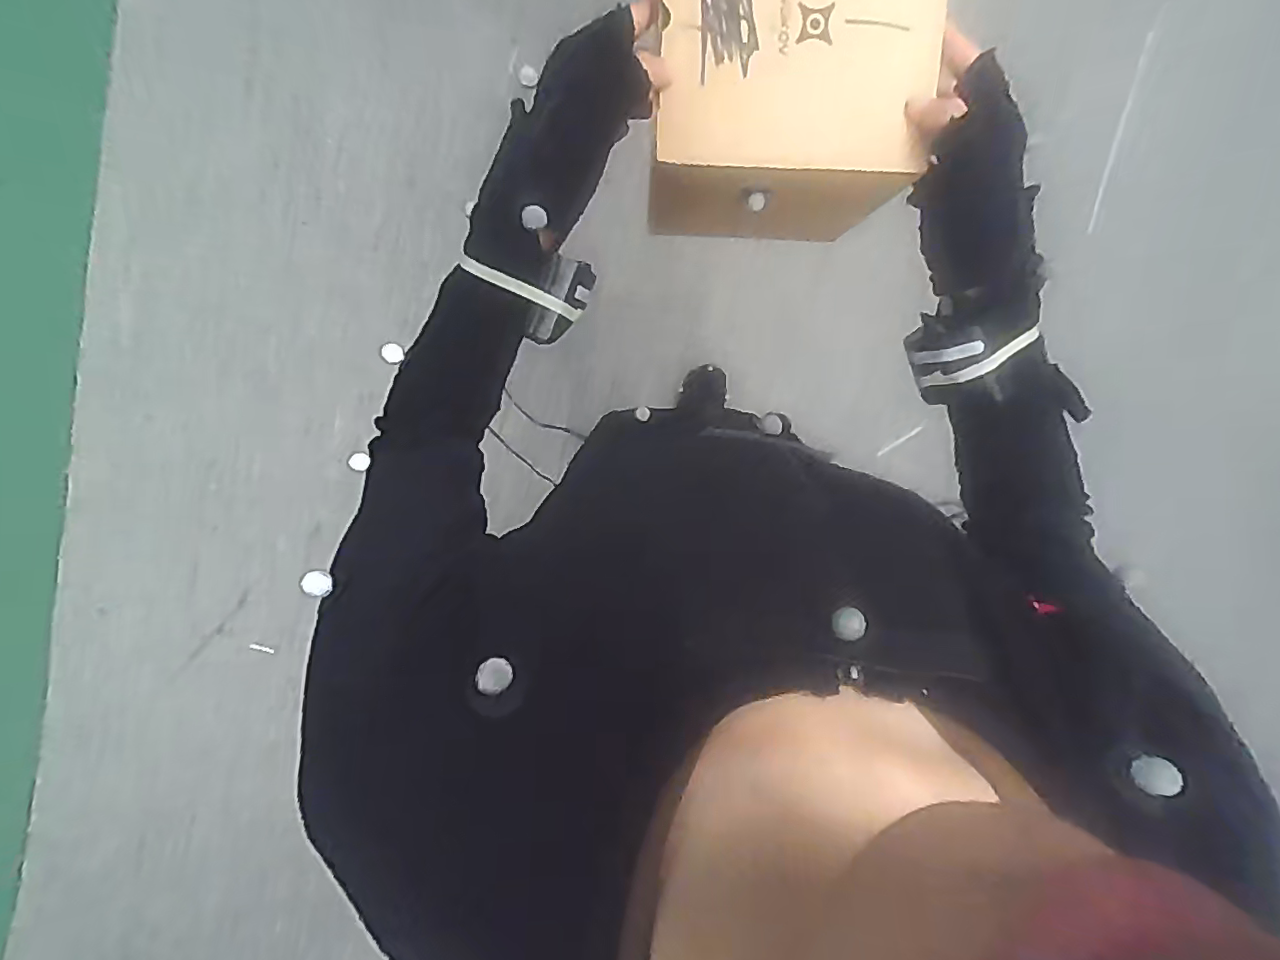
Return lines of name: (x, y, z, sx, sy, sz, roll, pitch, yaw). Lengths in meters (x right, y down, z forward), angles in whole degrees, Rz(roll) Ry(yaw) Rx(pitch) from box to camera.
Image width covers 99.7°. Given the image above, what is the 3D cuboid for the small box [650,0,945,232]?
small box: (0.097, -0.297, 0.405, 0.179, 0.176, 0.168, 1, 100, -1)
